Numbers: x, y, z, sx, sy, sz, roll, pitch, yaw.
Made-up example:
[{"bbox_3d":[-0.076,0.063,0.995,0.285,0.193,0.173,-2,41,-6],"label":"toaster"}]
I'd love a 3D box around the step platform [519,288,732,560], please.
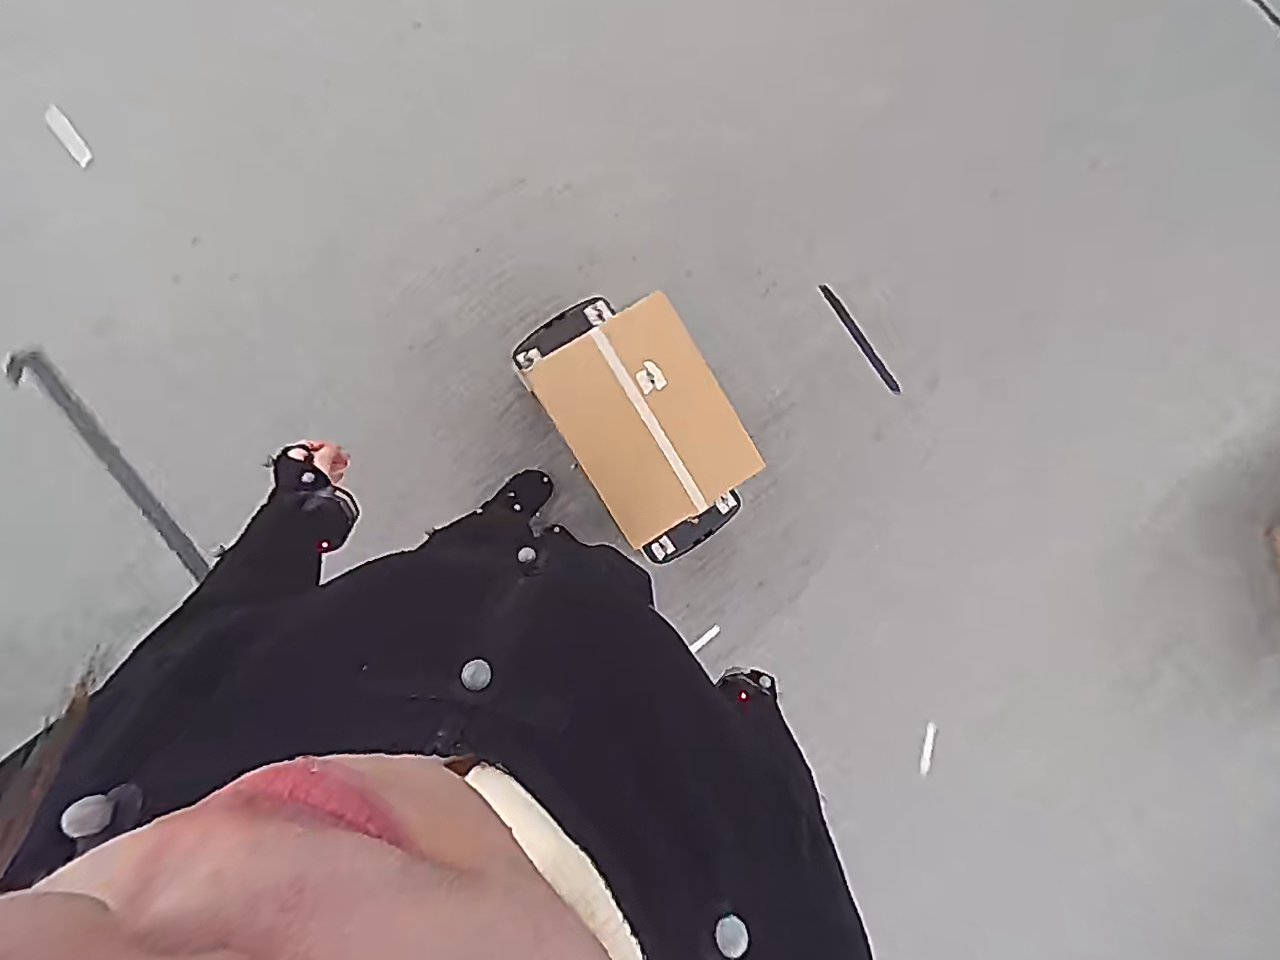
[{"bbox_3d":[-0.038,-0.135,1.404,0.286,0.204,0.684,-29,93,-6],"label":"step platform"}]

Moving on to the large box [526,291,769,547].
[{"bbox_3d":[0.007,-0.114,1.169,0.320,0.320,0.408,-31,93,-6],"label":"large box"}]
